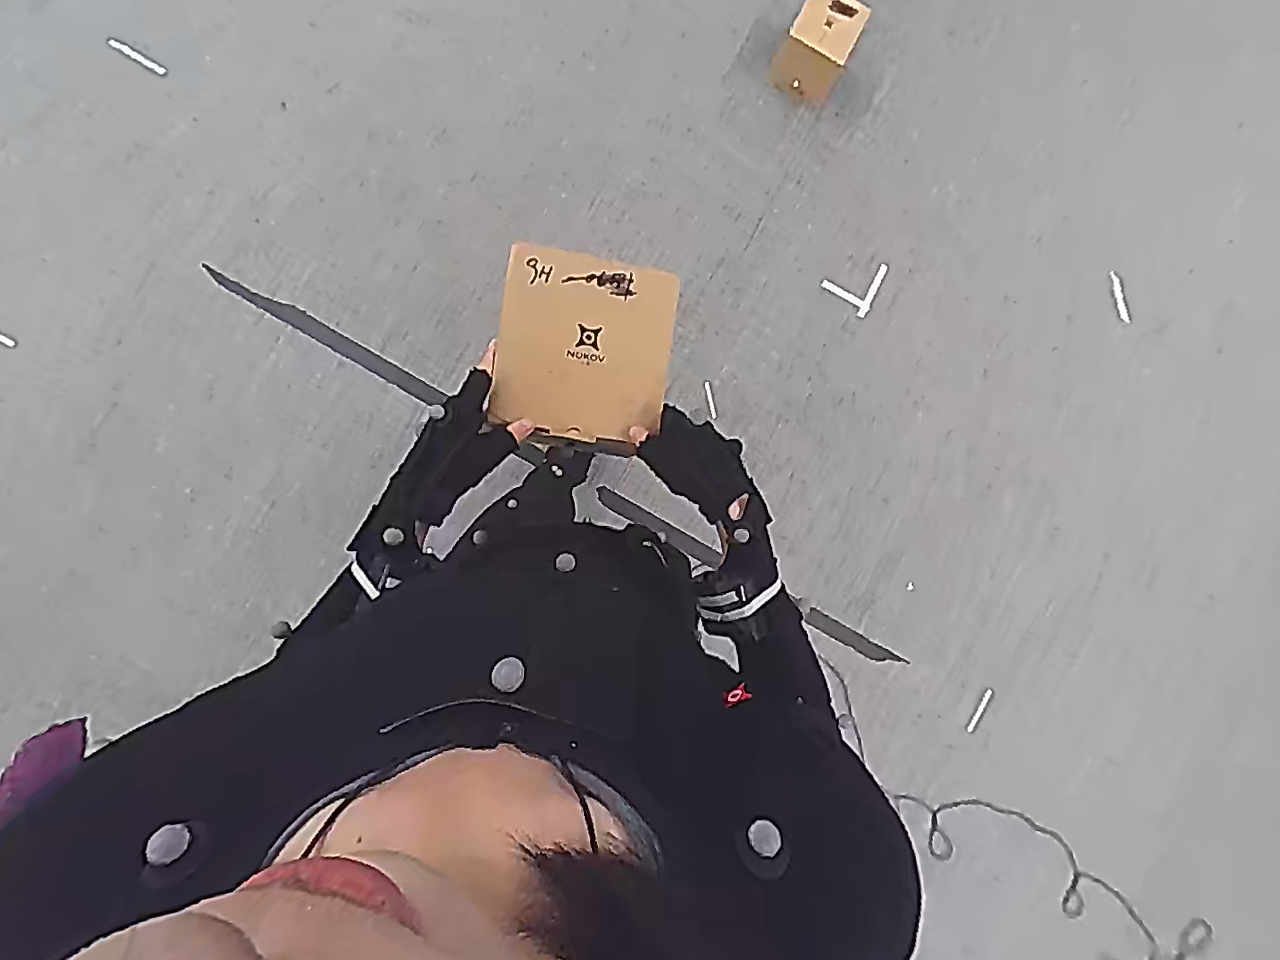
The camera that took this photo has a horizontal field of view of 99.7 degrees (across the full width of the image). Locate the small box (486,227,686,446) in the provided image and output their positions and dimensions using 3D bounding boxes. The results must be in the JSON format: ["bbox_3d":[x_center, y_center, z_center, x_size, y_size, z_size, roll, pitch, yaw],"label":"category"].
[{"bbox_3d":[-0.060,-0.135,0.583,0.168,0.176,0.179,9,89,-9],"label":"small box"}]

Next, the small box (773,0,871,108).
[{"bbox_3d":[0.490,-1.188,1.488,0.168,0.176,0.179,28,88,-4],"label":"small box"}]
